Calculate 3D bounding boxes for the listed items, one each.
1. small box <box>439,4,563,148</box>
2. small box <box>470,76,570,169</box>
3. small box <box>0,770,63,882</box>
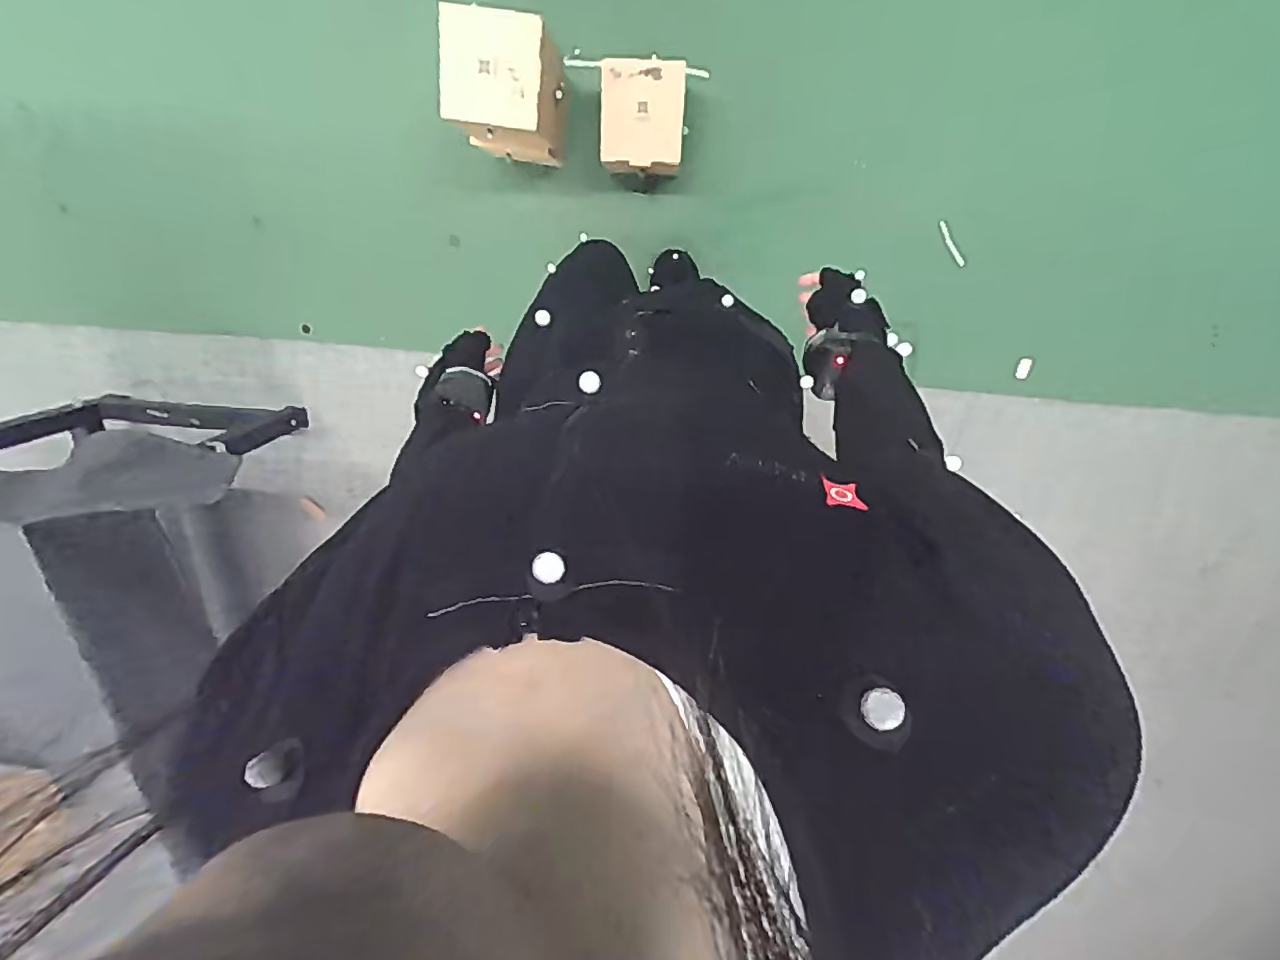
[{"bbox_3d":[-0.250,-0.726,0.991,0.179,0.176,0.168,9,112,0],"label":"small box"},{"bbox_3d":[-0.250,-0.780,1.148,0.168,0.176,0.179,10,112,0],"label":"small box"},{"bbox_3d":[-1.270,0.668,1.013,0.179,0.176,0.168,5,113,1],"label":"small box"}]
